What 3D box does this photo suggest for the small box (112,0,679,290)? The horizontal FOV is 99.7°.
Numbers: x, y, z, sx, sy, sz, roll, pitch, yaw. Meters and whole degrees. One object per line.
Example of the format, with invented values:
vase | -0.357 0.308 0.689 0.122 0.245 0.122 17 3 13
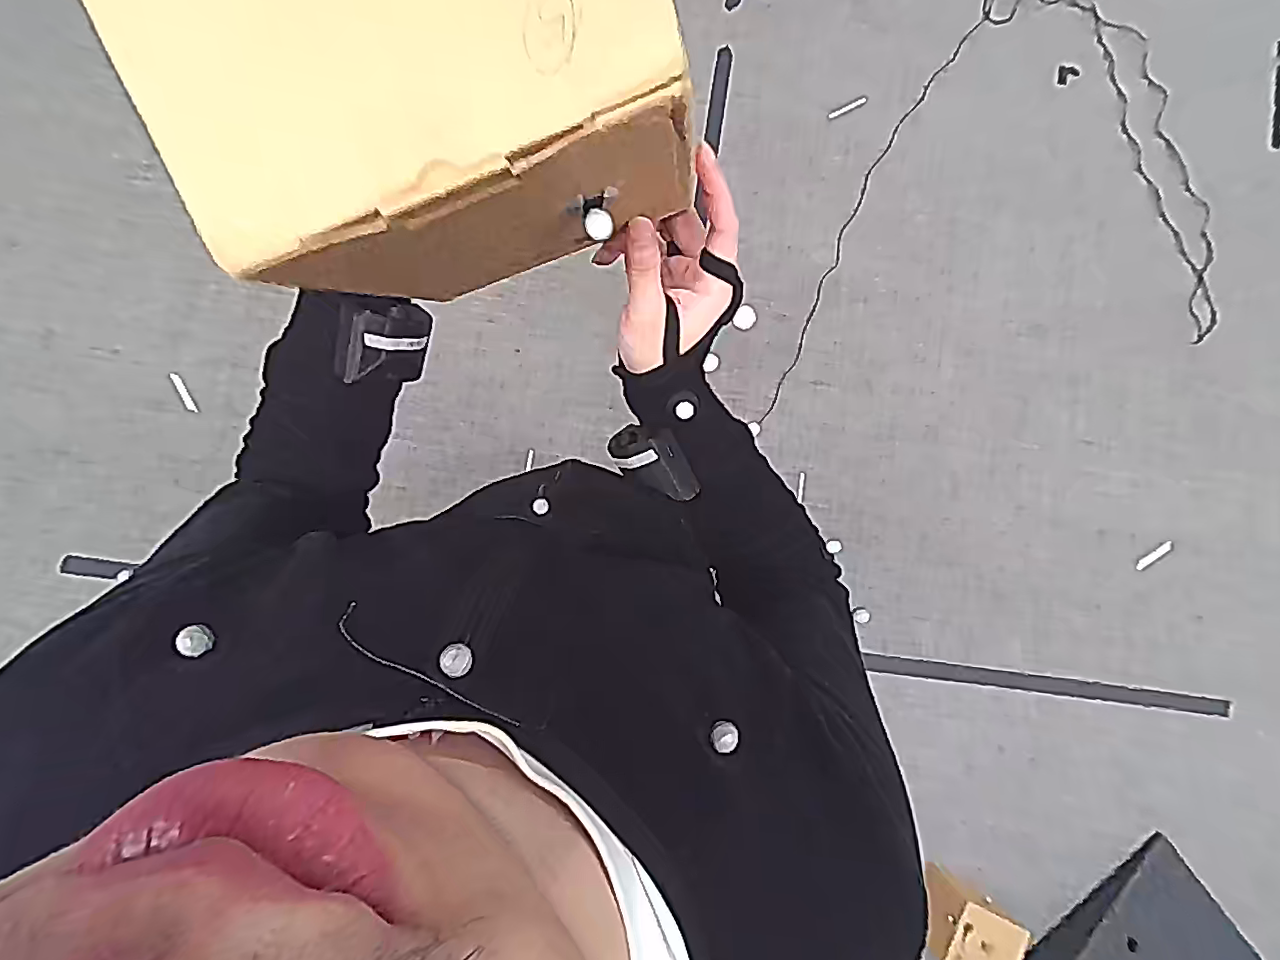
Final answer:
small box | -0.084 -0.196 0.239 0.168 0.176 0.179 -18 103 10
